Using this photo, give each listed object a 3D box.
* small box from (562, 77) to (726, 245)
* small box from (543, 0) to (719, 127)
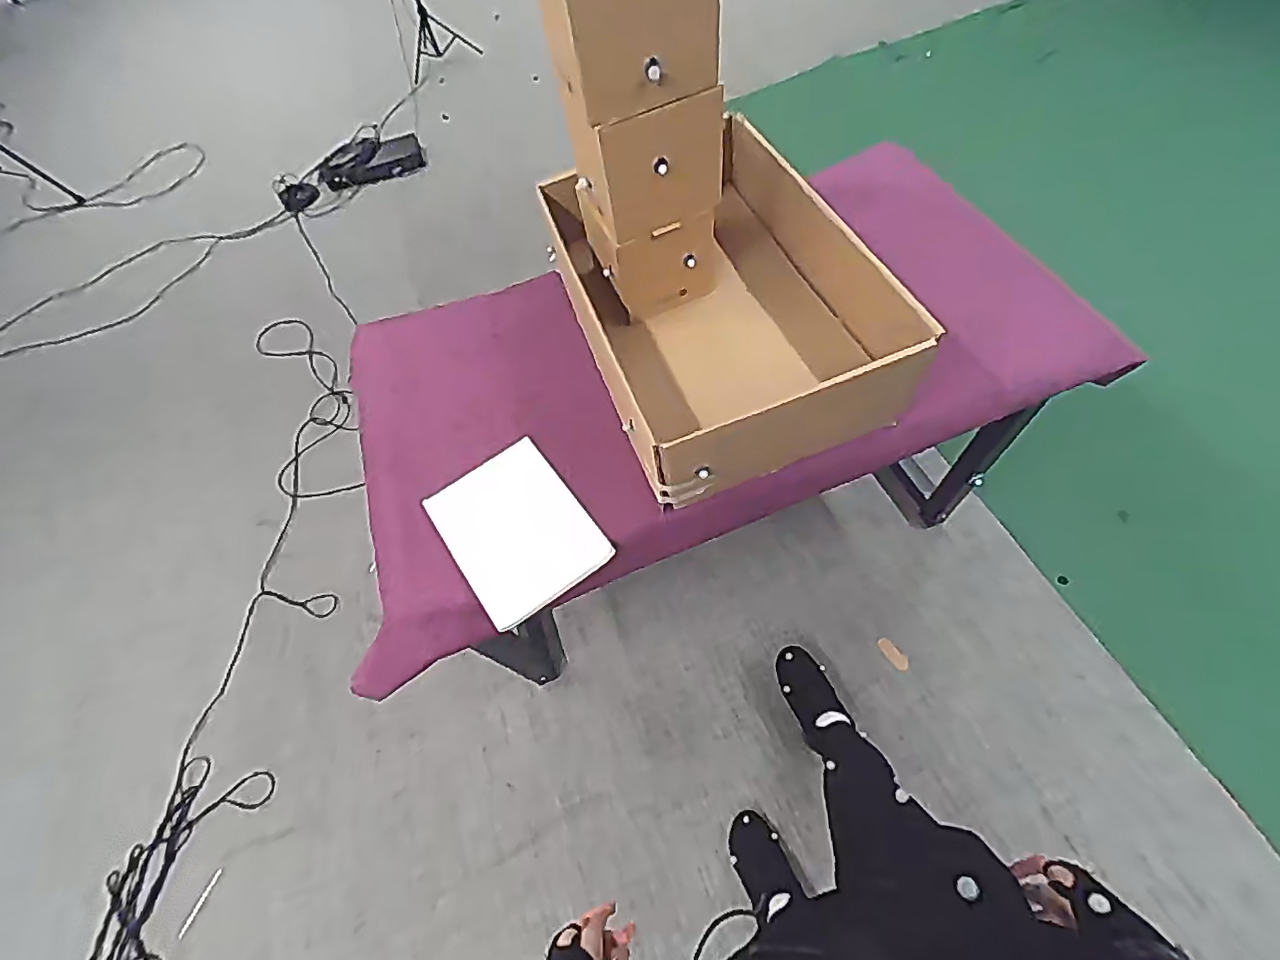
[{"bbox_3d":[0.007,-0.477,0.777,0.179,0.176,0.168,-24,61,-5],"label":"small box"},{"bbox_3d":[-0.015,-0.558,0.635,0.179,0.176,0.168,-21,60,-5],"label":"small box"}]
